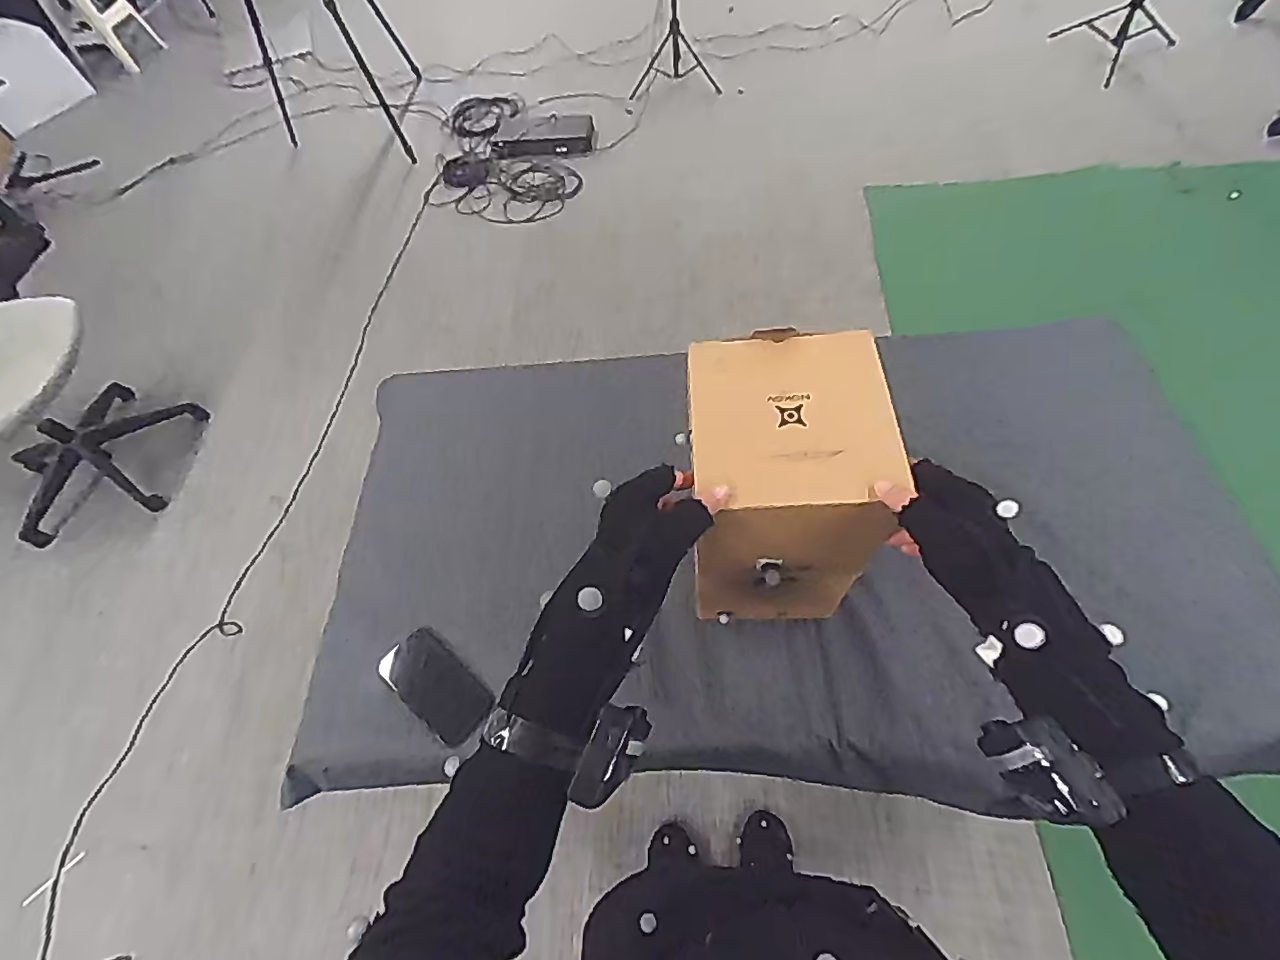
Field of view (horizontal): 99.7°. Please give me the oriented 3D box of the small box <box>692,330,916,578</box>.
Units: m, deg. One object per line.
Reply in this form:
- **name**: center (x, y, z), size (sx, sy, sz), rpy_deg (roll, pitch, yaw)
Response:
- **small box**: center (0.135, -0.017, 0.519), size (0.168, 0.176, 0.179), rpy_deg (-3, 61, 6)

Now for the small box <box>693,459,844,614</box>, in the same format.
- **small box**: center (0.150, 0.058, 0.661), size (0.168, 0.176, 0.179), rpy_deg (-2, 59, 6)
